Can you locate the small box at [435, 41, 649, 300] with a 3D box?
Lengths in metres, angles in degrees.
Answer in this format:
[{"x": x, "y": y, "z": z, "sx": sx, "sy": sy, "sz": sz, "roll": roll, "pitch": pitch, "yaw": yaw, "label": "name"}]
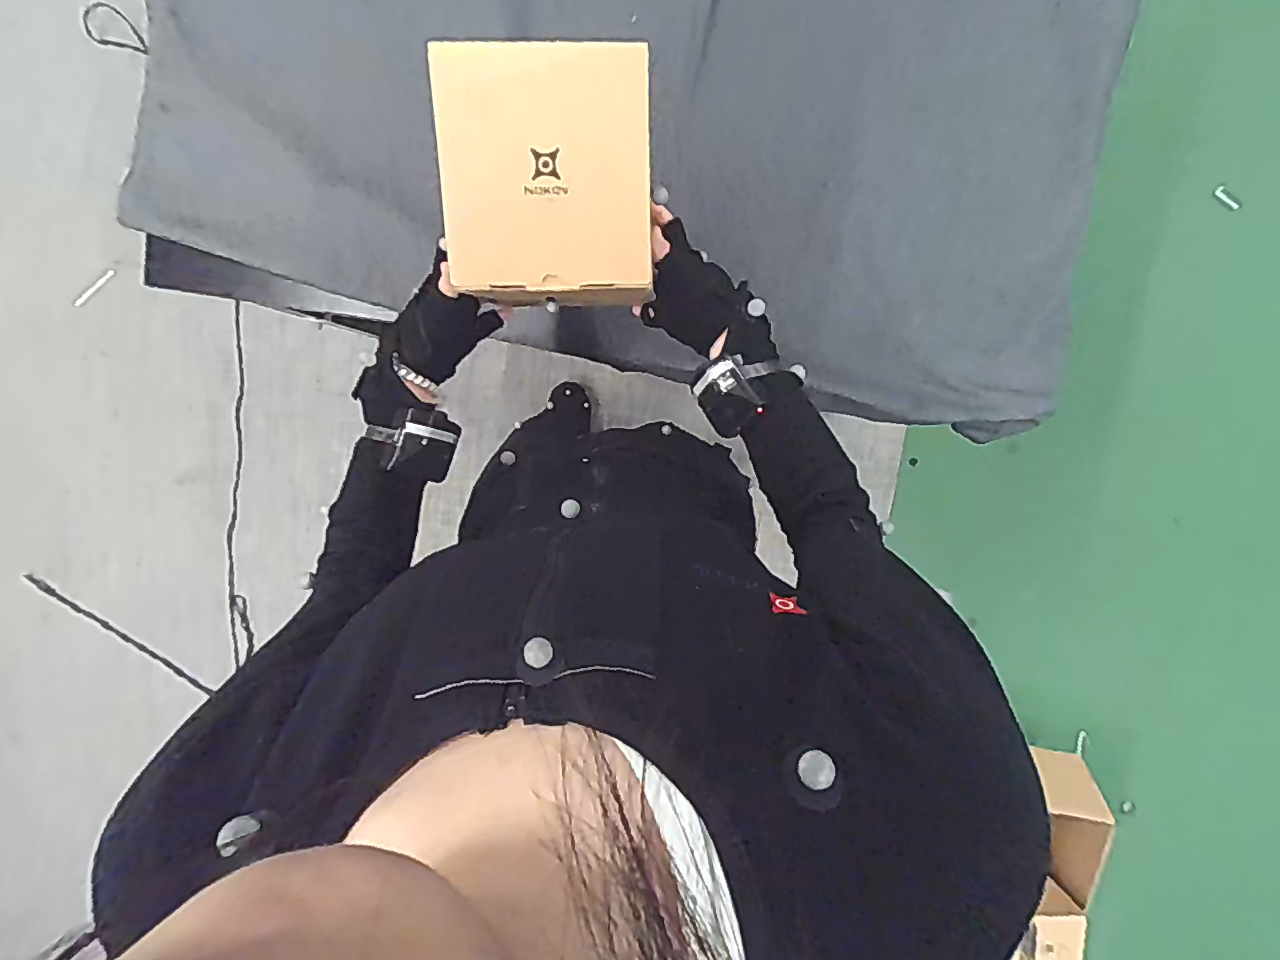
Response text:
[{"x": -0.081, "y": -0.268, "z": 0.510, "sx": 0.168, "sy": 0.176, "sz": 0.179, "roll": -1, "pitch": 106, "yaw": -3, "label": "small box"}]
